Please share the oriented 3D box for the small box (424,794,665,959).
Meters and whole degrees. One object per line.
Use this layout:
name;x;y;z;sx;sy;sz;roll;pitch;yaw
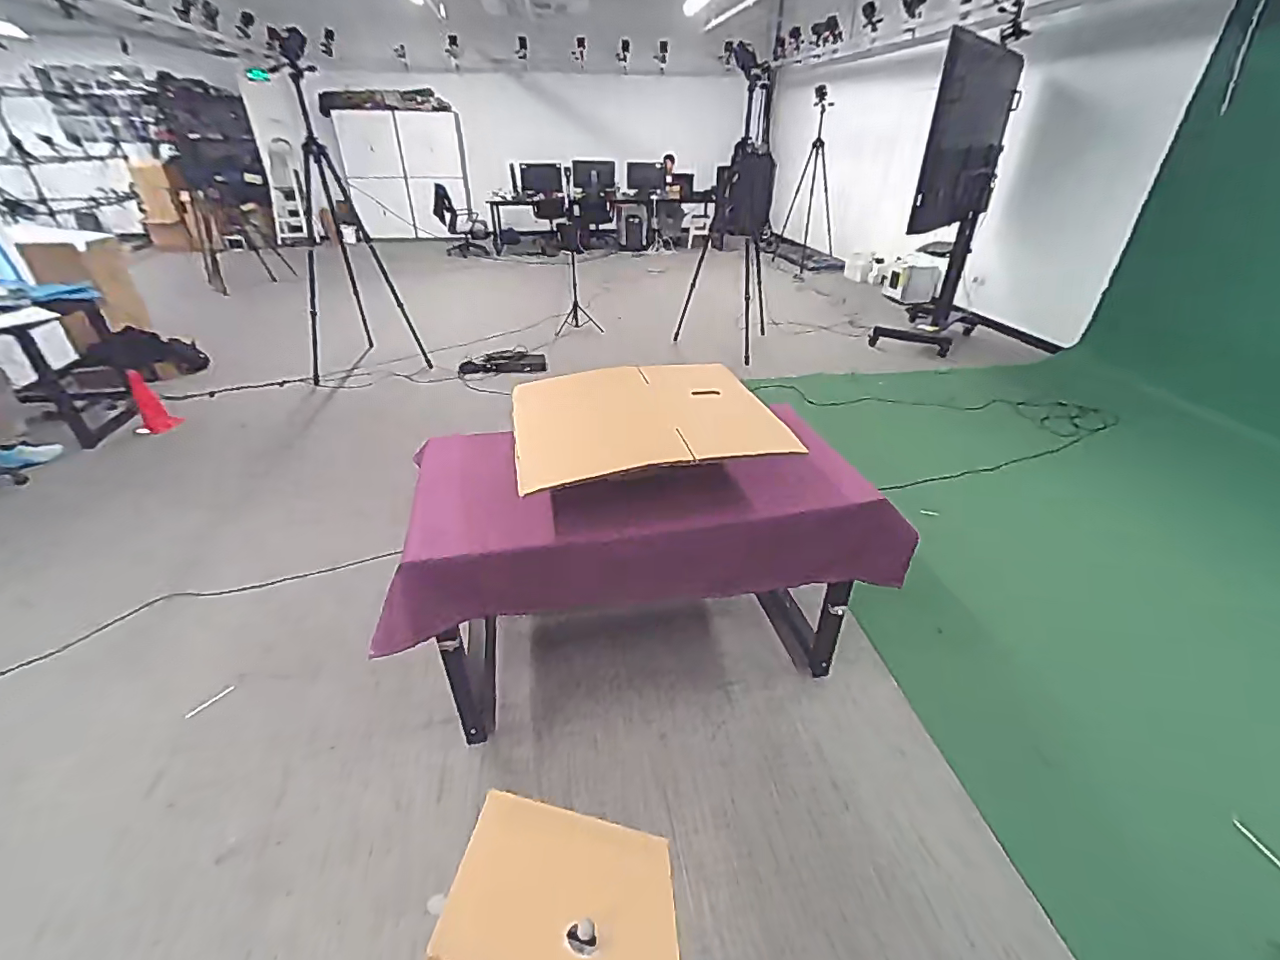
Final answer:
small box;-0.081;0.394;0.437;0.179;0.168;0.176;18;4;-2
